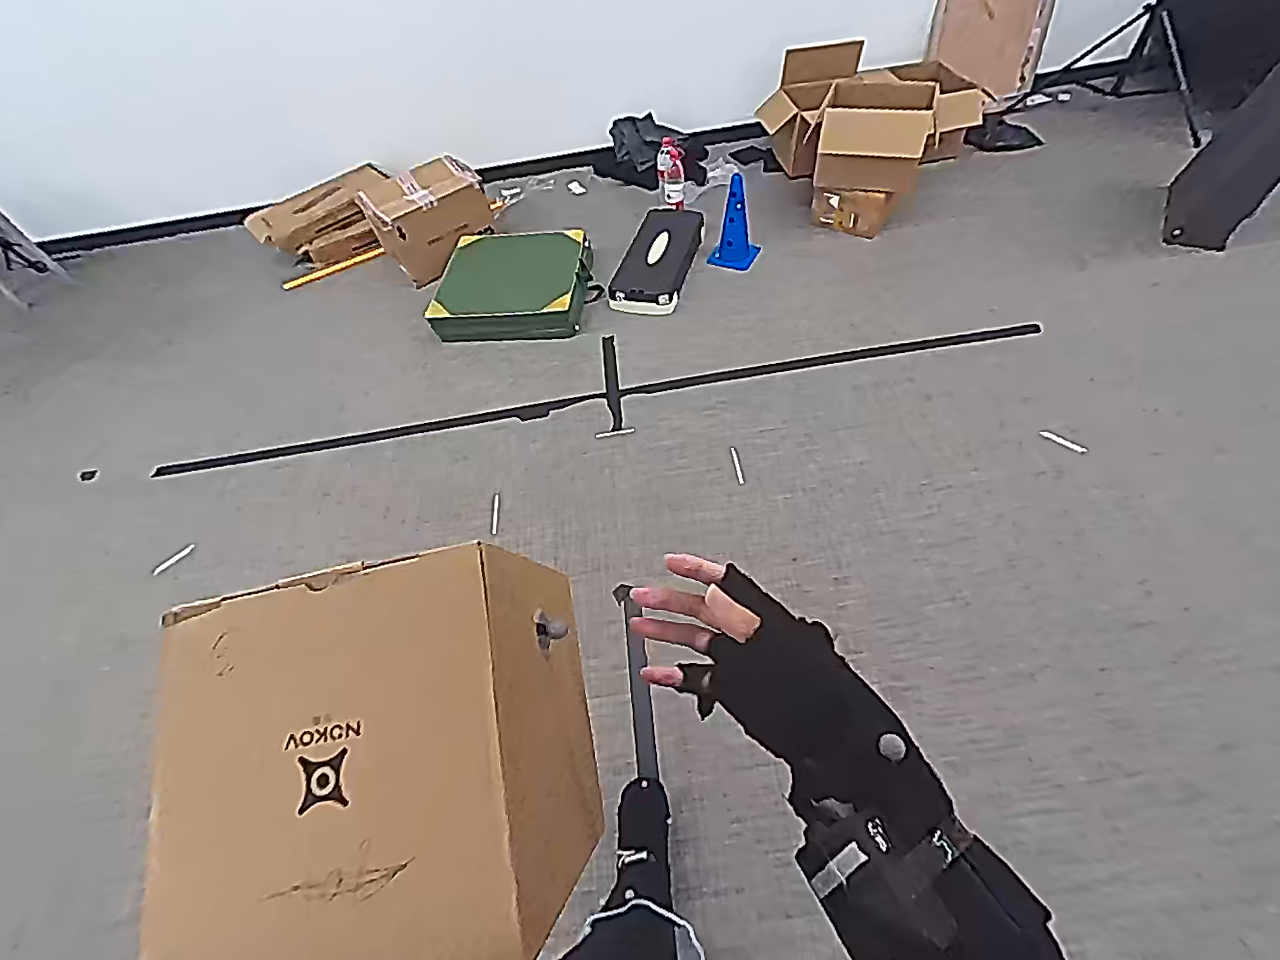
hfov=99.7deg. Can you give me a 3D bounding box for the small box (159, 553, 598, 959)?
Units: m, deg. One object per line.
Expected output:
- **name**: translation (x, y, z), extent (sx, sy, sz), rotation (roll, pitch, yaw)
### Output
- **small box**: translation (-0.130, 0.156, 0.328), extent (0.168, 0.176, 0.179), rotation (-12, 73, 5)
